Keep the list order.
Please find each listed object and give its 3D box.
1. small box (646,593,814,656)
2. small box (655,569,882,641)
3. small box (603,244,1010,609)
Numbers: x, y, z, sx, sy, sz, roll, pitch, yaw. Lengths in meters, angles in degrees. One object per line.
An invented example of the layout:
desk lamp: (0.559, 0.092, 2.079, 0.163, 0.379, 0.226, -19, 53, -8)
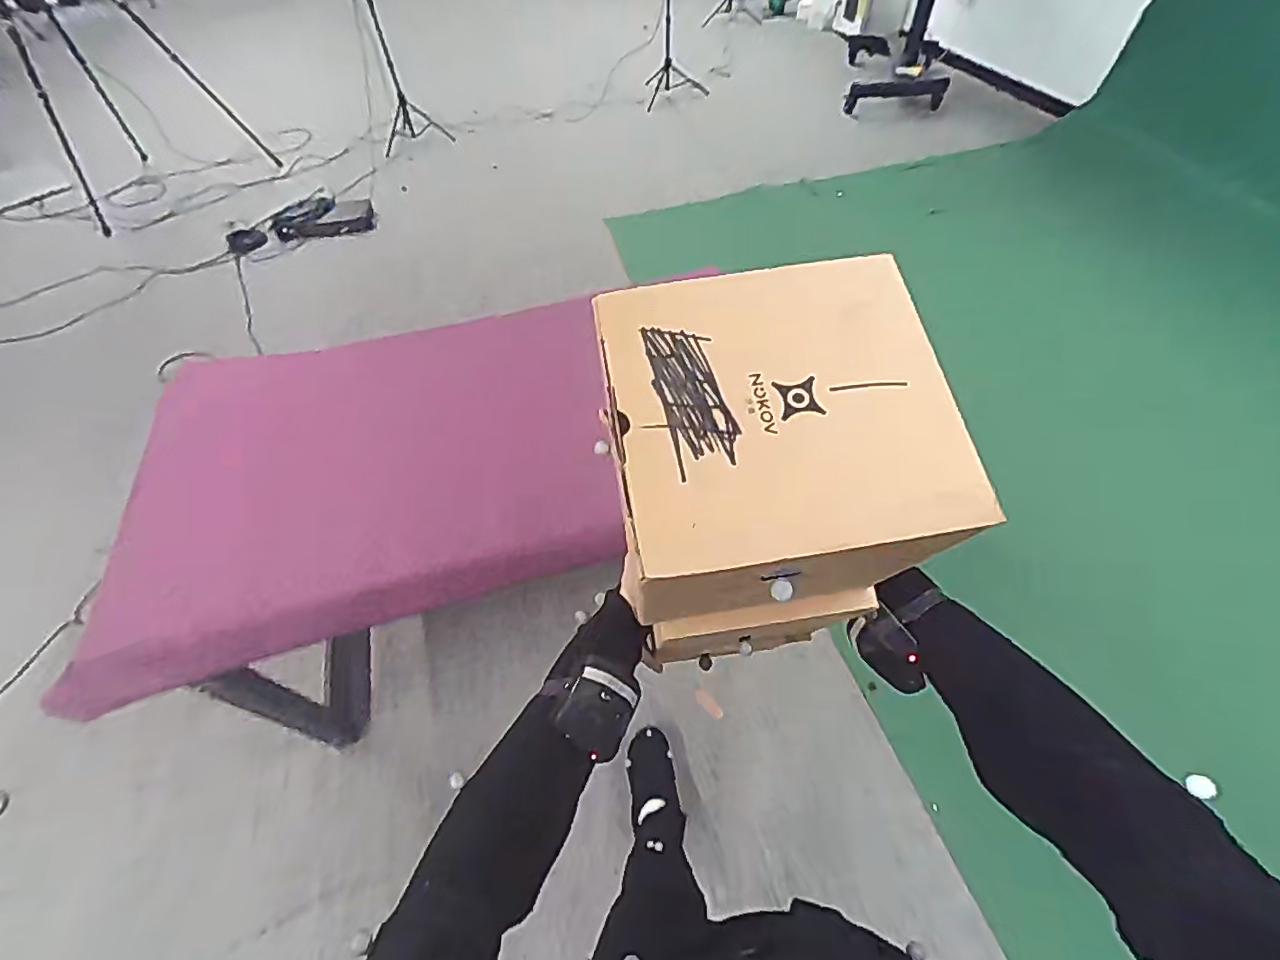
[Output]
small box: (0.090, 0.114, 0.652, 0.168, 0.176, 0.179, -6, 68, -2)
small box: (0.090, 0.049, 0.500, 0.168, 0.176, 0.179, -7, 68, -3)
small box: (0.077, -0.019, 0.351, 0.179, 0.176, 0.168, -9, 69, -4)
